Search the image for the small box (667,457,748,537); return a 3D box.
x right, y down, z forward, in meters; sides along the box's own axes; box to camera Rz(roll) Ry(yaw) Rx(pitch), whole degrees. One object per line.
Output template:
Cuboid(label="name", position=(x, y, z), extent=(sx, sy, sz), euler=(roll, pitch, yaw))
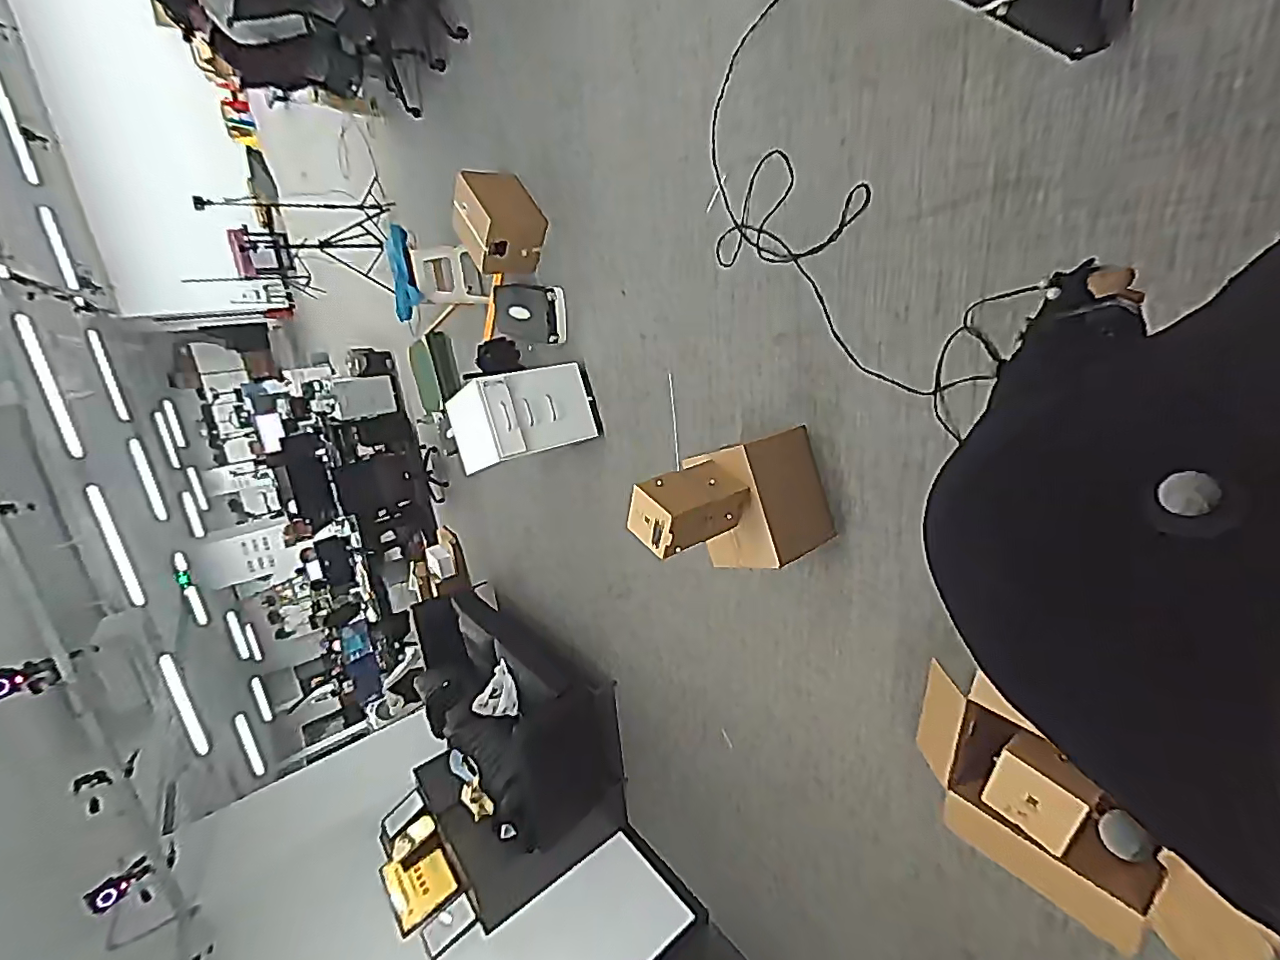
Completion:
Cuboid(label="small box", position=(0.216, 0.047, 1.725), extent=(0.179, 0.176, 0.168), euler=(38, 133, 35))

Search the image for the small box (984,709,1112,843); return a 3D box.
Cuboid(label="small box", position=(0.937, 0.666, 1.240), extent=(0.168, 0.176, 0.179), euler=(32, 130, 47))
